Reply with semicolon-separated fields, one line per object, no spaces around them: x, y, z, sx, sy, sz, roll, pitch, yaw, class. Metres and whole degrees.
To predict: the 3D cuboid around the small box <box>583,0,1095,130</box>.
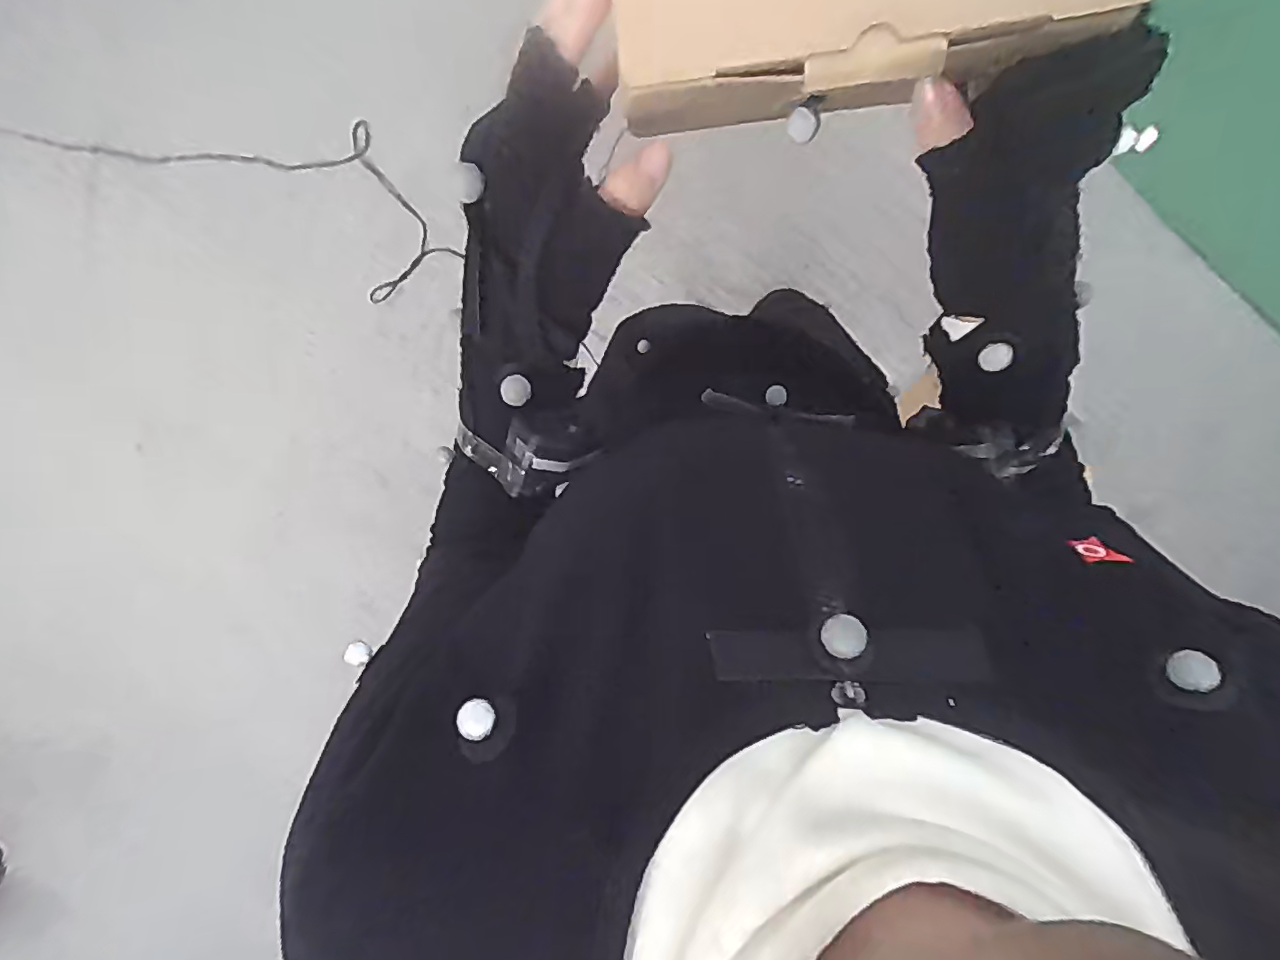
0.058;-0.250;0.212;0.168;0.176;0.179;-6;119;5;small box
